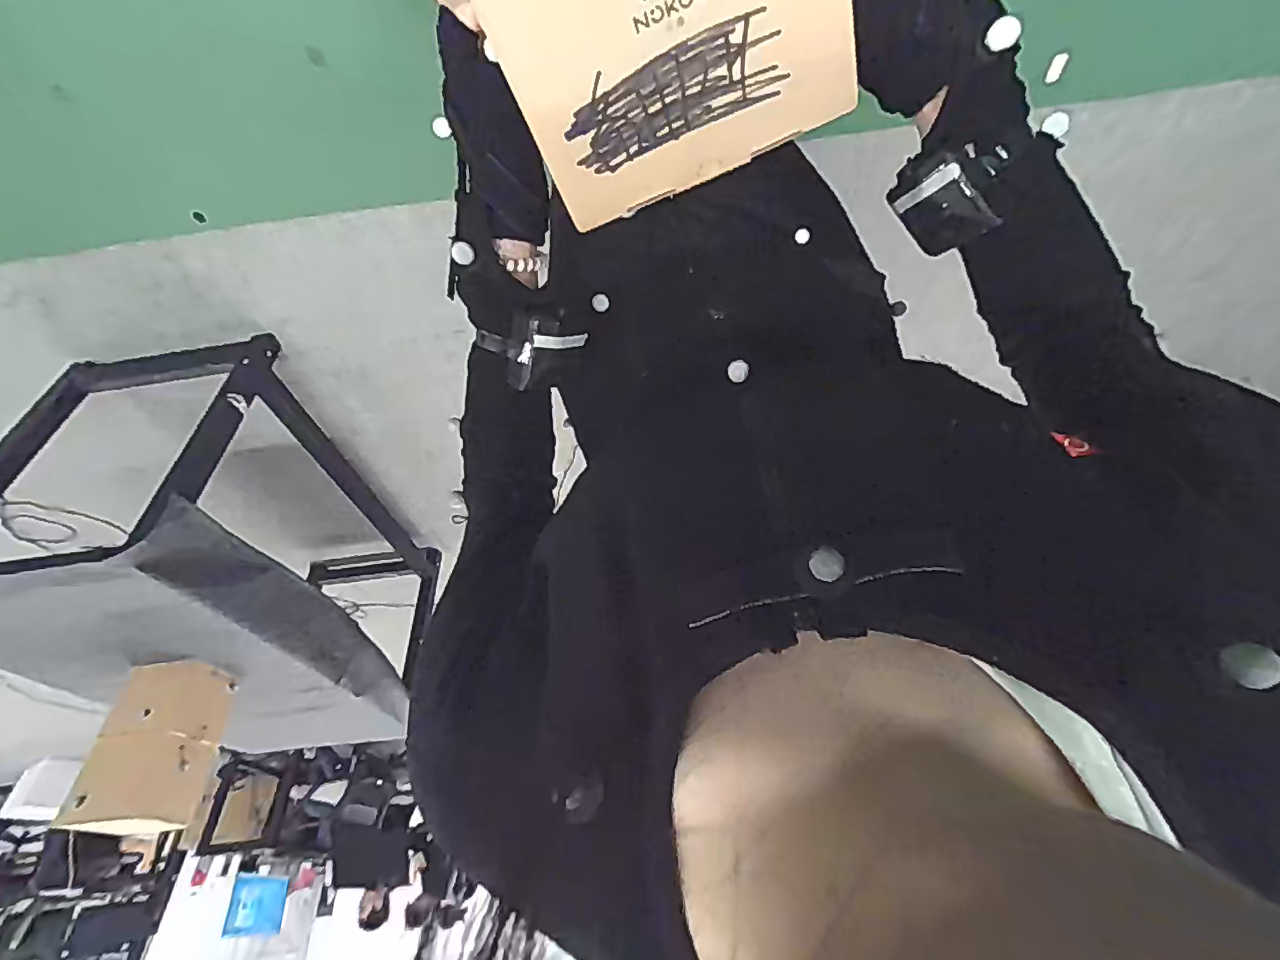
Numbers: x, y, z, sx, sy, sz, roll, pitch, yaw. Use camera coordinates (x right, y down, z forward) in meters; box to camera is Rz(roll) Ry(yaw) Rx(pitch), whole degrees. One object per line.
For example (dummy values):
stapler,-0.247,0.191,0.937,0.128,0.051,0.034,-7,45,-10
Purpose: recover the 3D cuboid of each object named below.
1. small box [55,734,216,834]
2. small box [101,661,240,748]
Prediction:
small box,-1.128,0.689,1.229,0.179,0.176,0.168,-9,141,4
small box,-1.125,0.553,1.322,0.179,0.176,0.168,-7,141,4
